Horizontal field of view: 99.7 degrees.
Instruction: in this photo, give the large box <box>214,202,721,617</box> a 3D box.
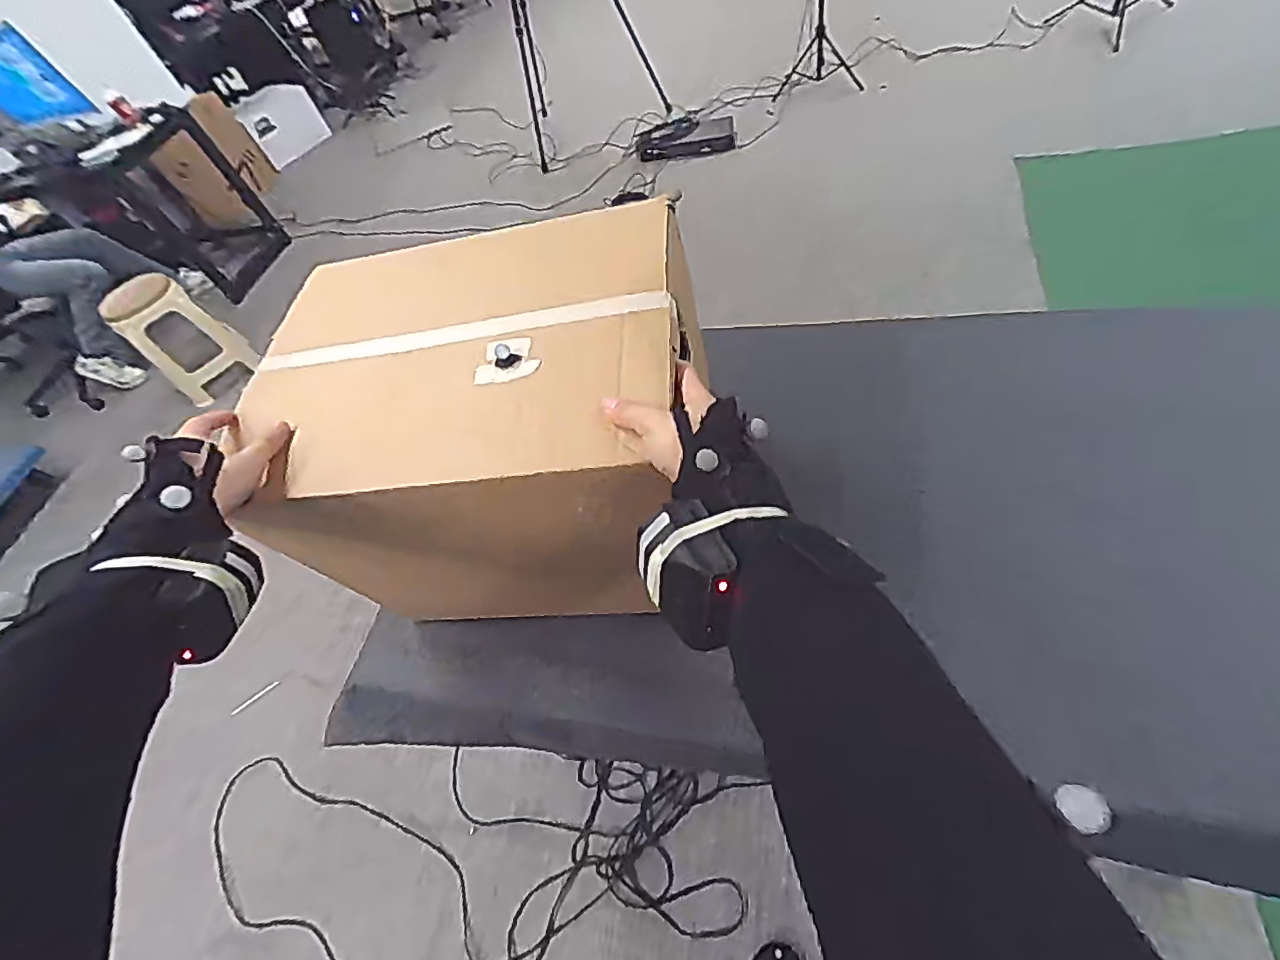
[{"bbox_3d":[-0.127,-0.050,0.611,0.408,0.320,0.320,-5,58,11],"label":"large box"}]
